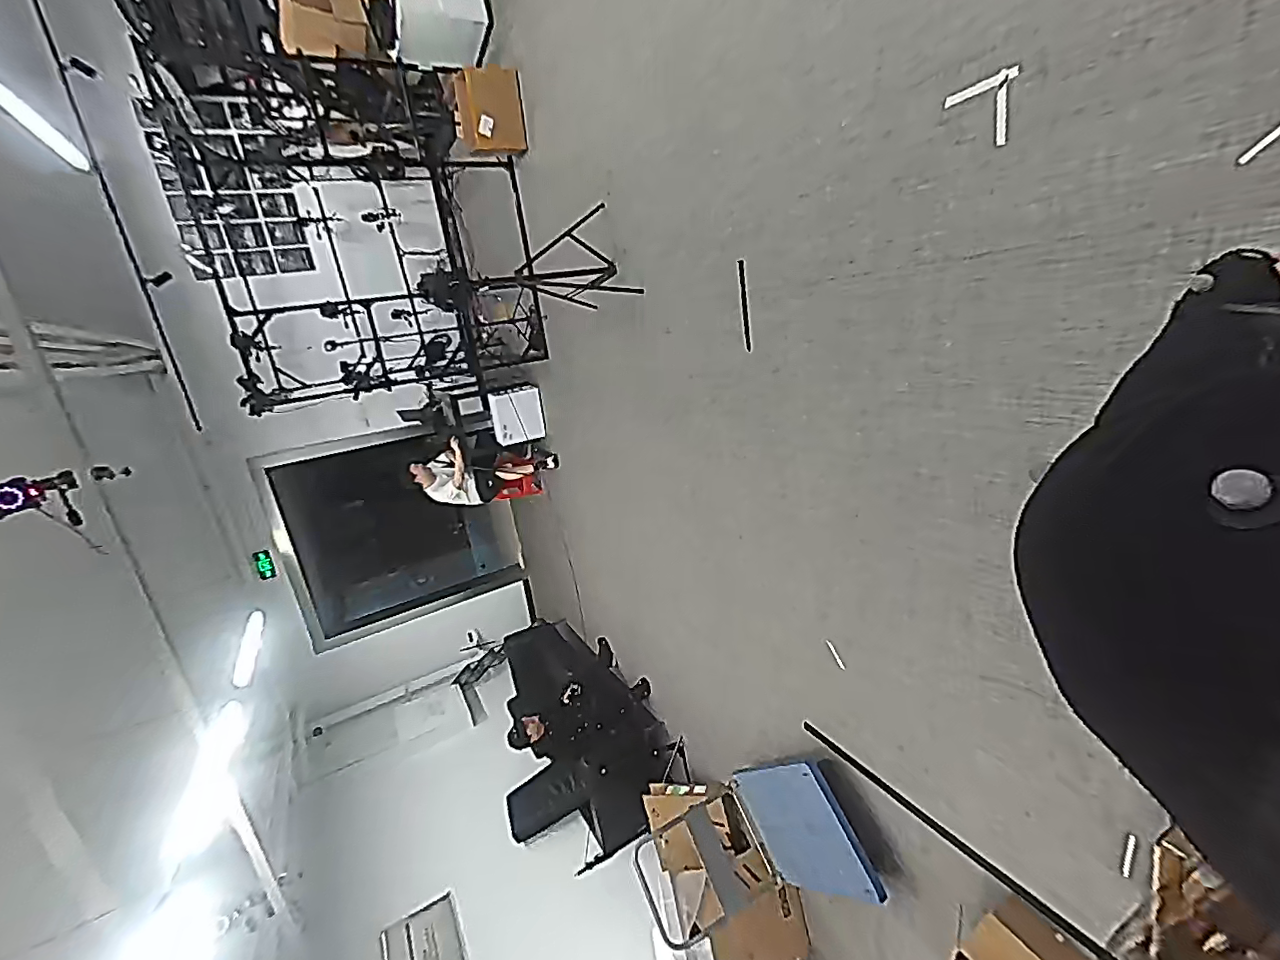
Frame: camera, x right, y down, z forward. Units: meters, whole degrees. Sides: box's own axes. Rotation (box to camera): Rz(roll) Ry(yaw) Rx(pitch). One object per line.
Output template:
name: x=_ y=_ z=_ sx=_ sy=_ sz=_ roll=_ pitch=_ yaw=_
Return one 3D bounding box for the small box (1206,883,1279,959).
small box: x=1.360 y=1.031 z=1.157 sx=0.168 sy=0.176 sz=0.179 roll=13 pitch=116 yaw=60
